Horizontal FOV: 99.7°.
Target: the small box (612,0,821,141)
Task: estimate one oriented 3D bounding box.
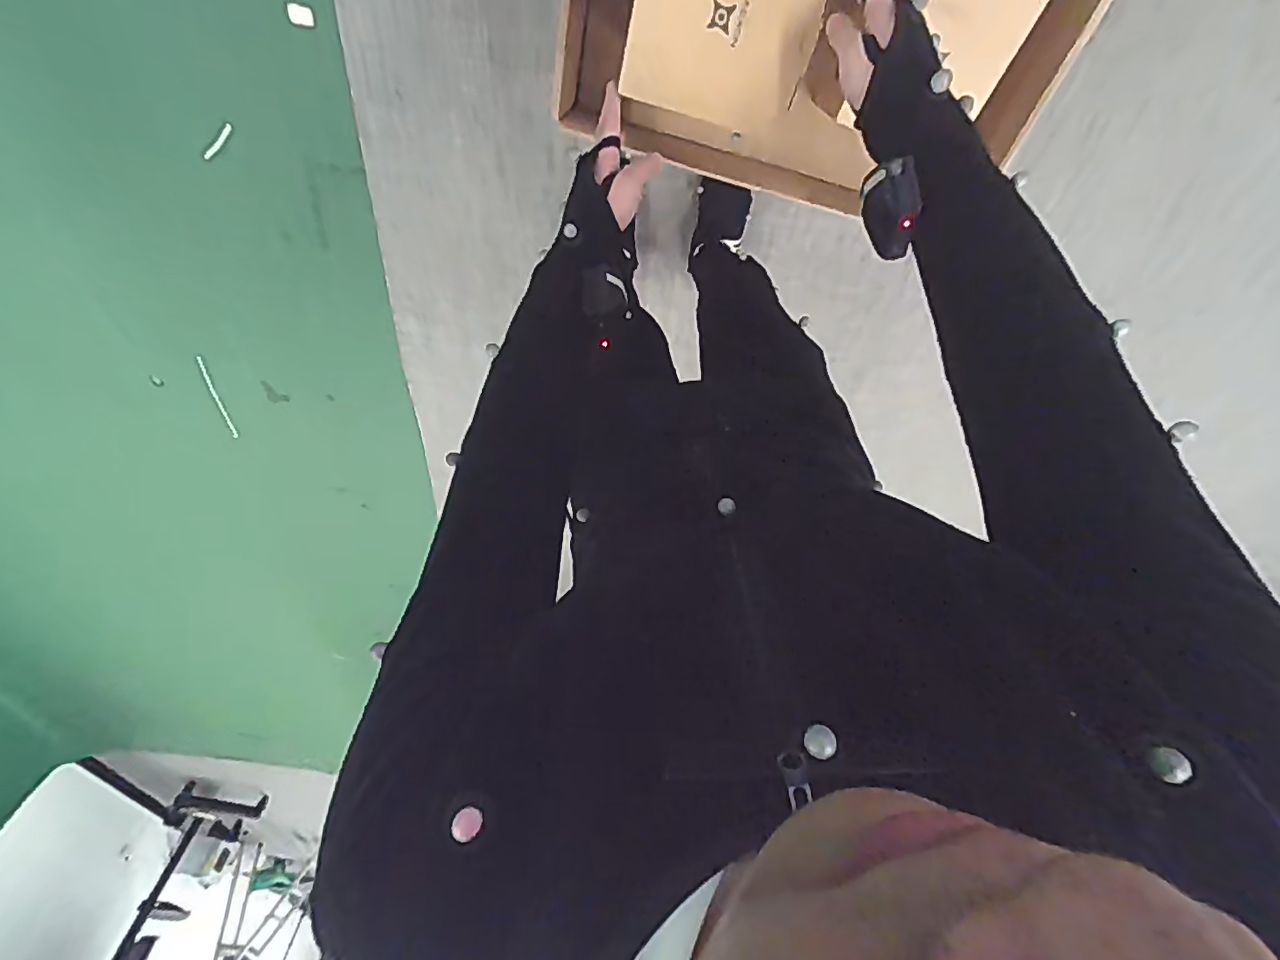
[{"bbox_3d":[0.080,-0.487,0.569,0.179,0.176,0.168,13,132,-6],"label":"small box"}]

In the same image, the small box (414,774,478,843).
[{"bbox_3d":[-0.703,1.203,1.981,0.168,0.176,0.179,7,132,-1],"label":"small box"}]
